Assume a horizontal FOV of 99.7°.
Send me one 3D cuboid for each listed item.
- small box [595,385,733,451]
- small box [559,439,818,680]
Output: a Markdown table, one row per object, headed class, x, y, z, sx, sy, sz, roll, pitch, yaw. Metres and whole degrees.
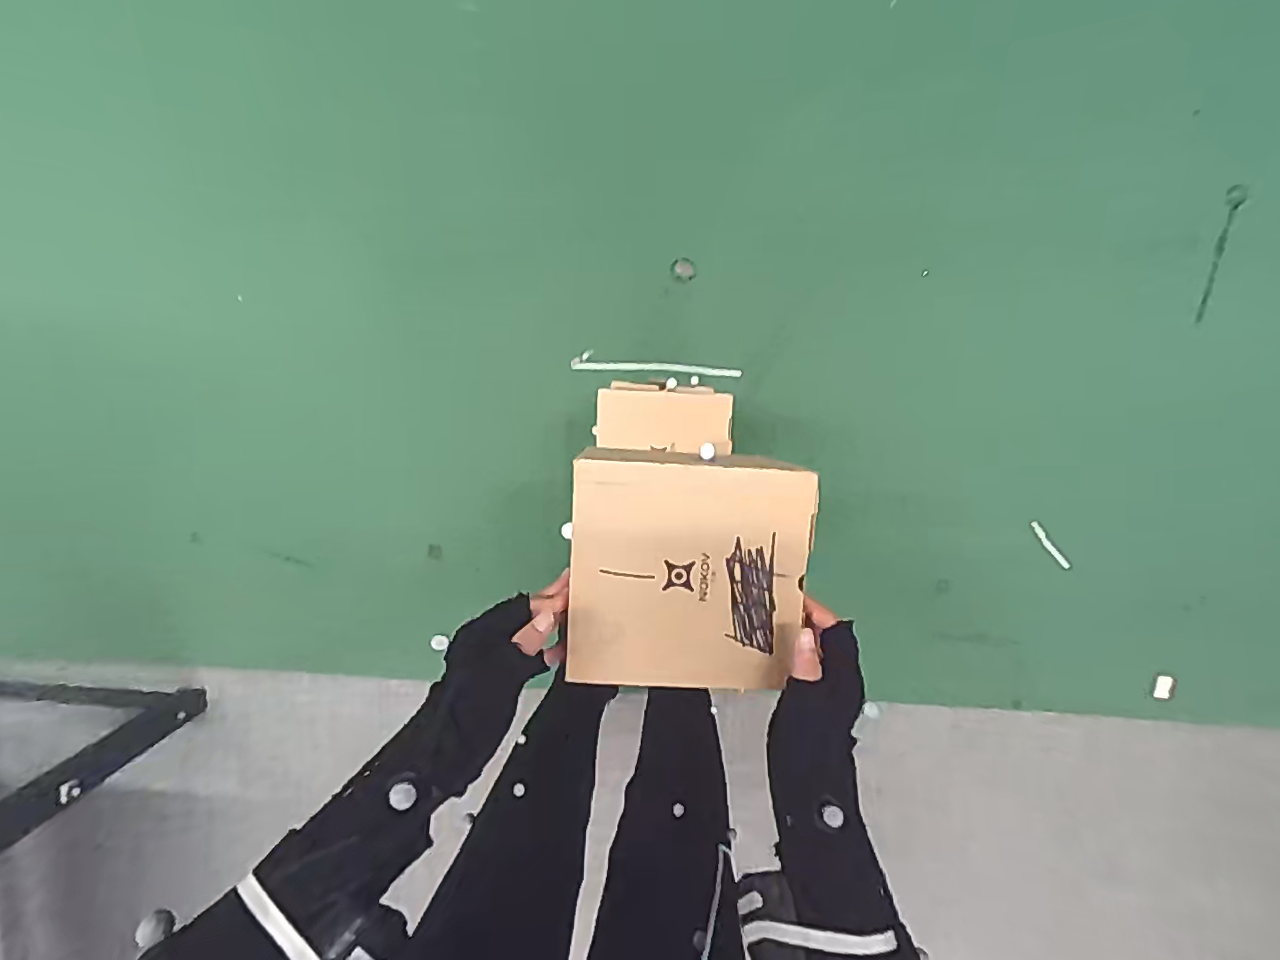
| class | x | y | z | sx | sy | sz | roll | pitch | yaw |
| --- | --- | --- | --- | --- | --- | --- | --- | --- | --- |
| small box | 0.032 | -0.049 | 0.779 | 0.179 | 0.176 | 0.168 | 2 | 100 | 2 |
| small box | 0.031 | 0.054 | 0.470 | 0.179 | 0.176 | 0.168 | 5 | 94 | -3 |
